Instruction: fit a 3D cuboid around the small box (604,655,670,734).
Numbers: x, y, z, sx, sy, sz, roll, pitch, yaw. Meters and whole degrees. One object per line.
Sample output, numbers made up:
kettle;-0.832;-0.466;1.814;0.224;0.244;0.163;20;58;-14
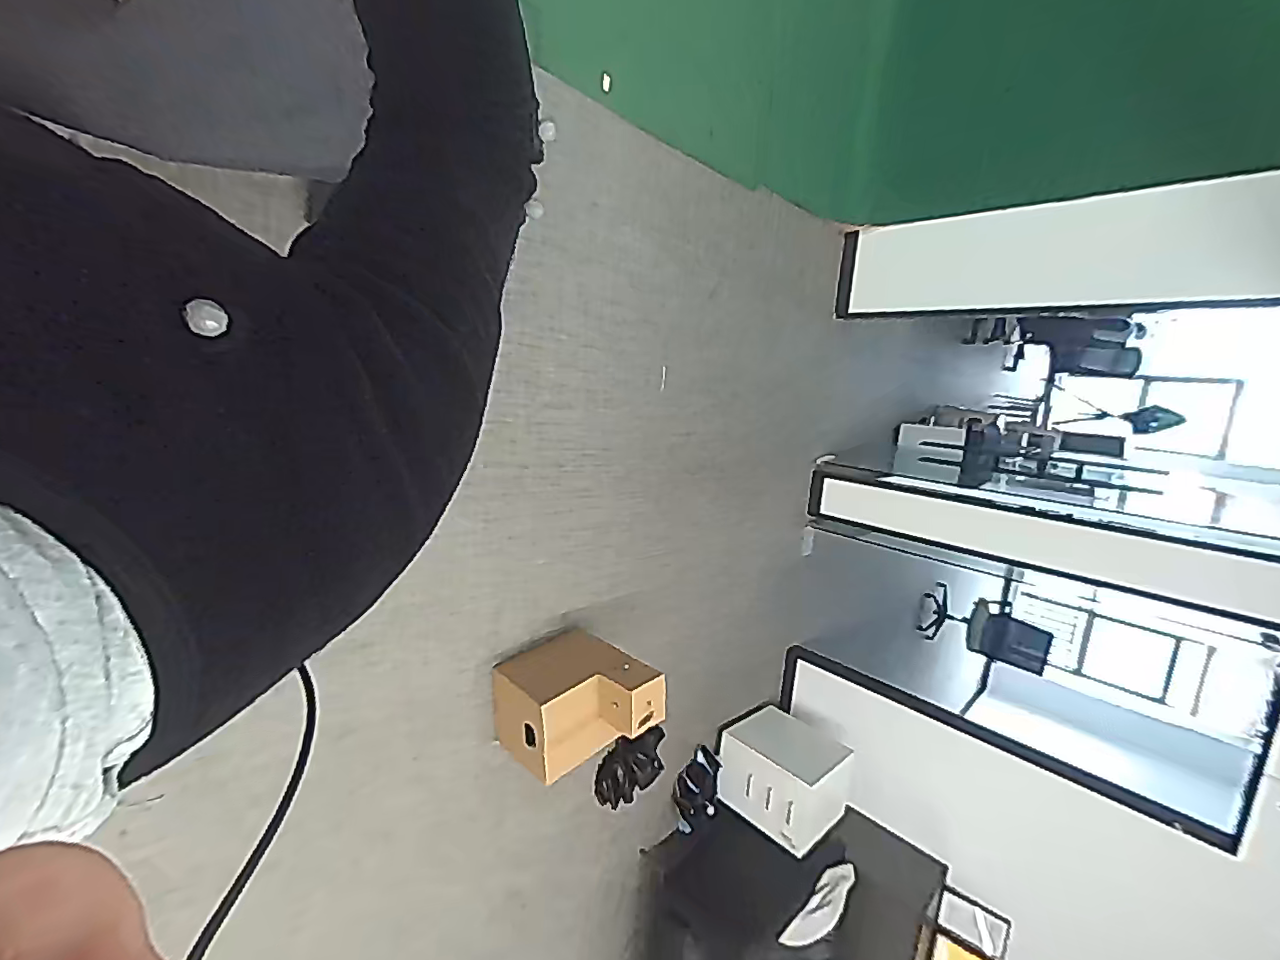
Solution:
small box;-0.011;0.743;1.889;0.168;0.176;0.179;-12;104;-45
